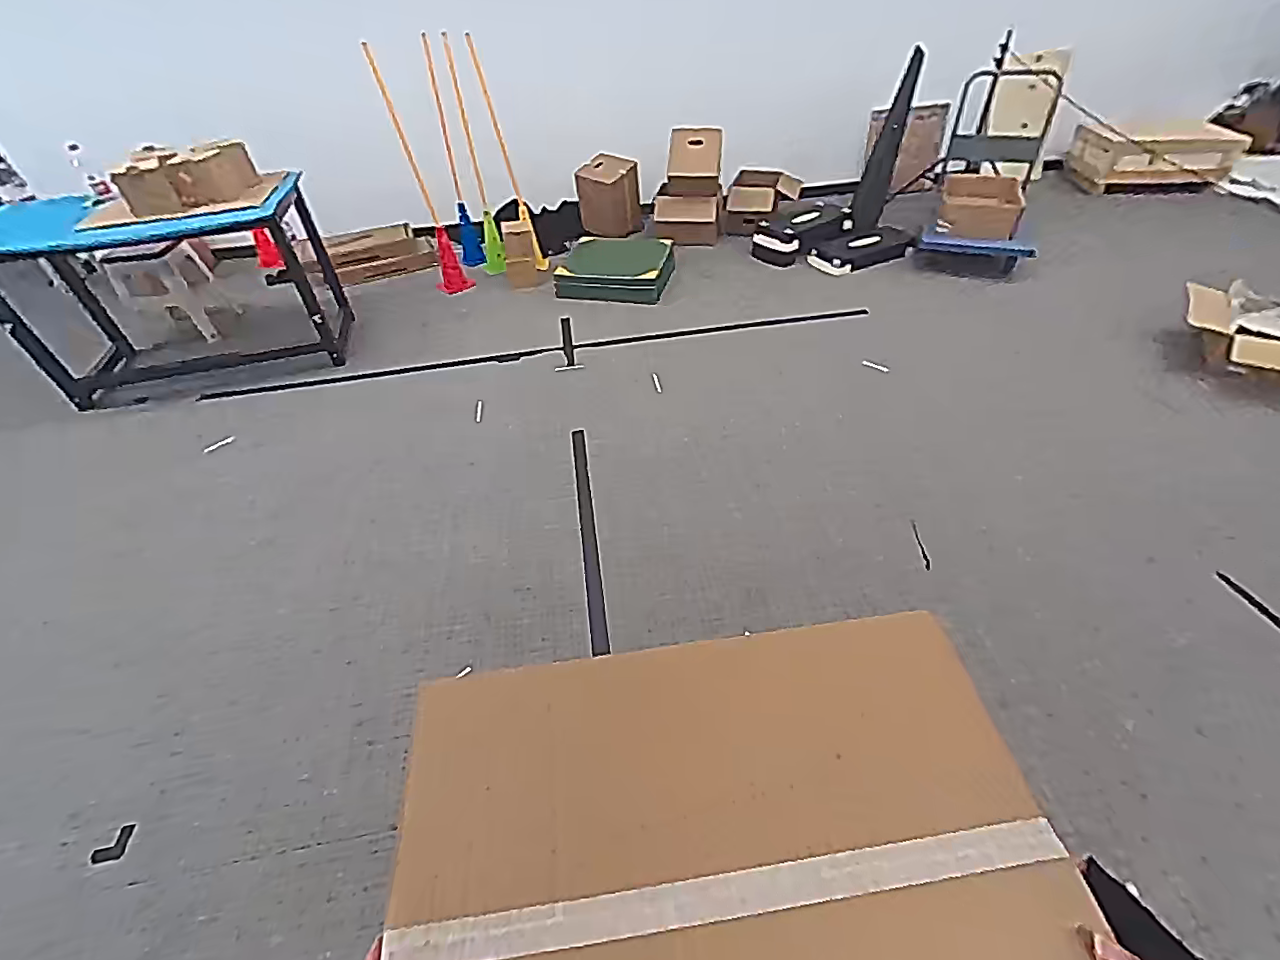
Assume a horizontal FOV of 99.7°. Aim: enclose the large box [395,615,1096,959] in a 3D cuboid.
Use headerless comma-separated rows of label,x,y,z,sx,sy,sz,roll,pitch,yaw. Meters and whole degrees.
large box,0.059,0.345,0.443,0.408,0.320,0.320,-7,49,-3
